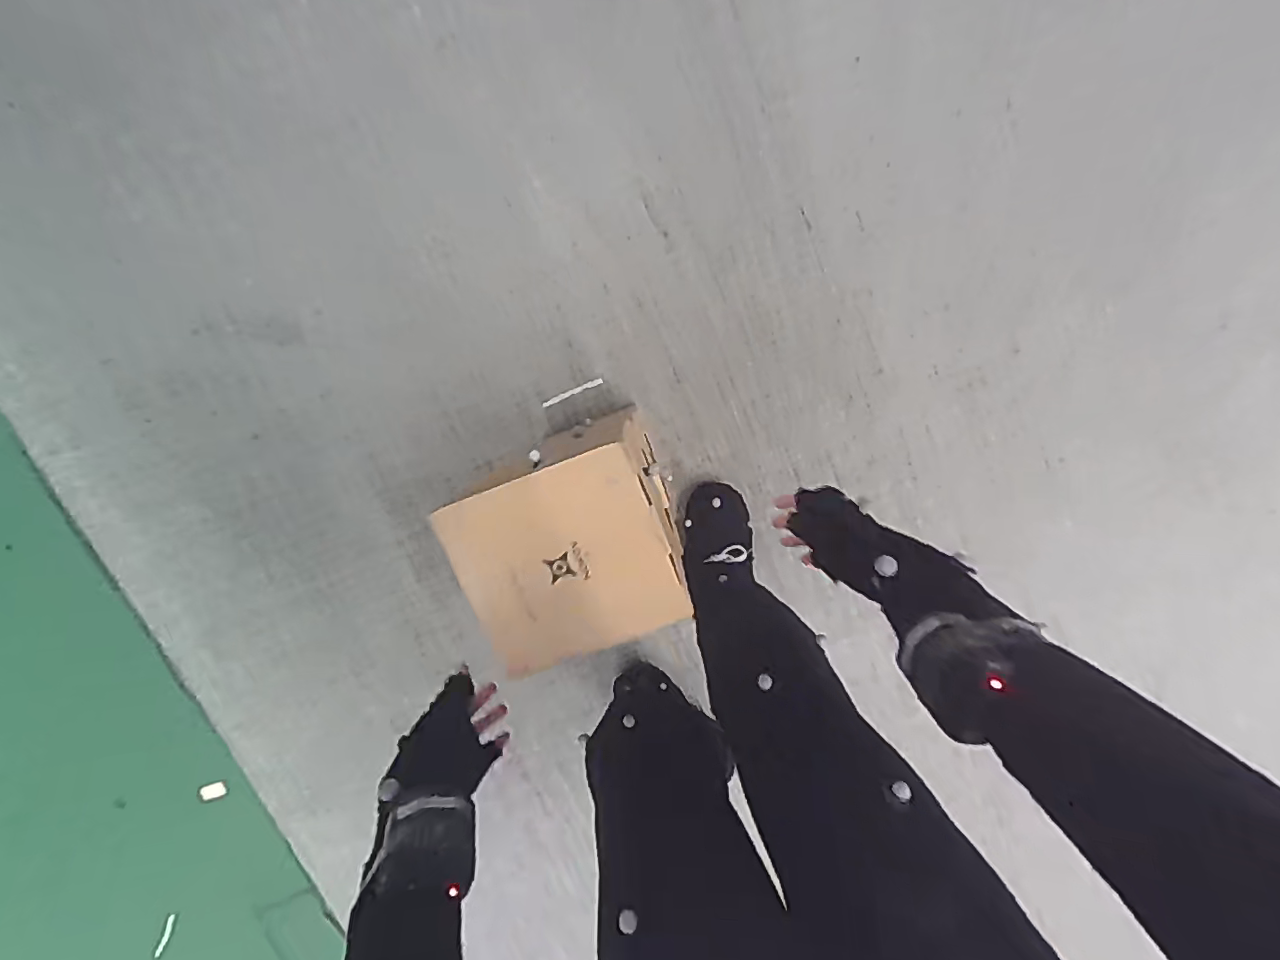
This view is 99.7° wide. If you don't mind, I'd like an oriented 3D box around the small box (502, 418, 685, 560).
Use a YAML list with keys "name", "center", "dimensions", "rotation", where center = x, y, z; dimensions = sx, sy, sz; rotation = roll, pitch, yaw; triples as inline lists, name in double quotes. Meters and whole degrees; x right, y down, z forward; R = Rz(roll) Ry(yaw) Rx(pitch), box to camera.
- name: "small box"
  center: [-0.057, 0.029, 0.691]
  dimensions: [0.179, 0.176, 0.168]
  rotation: [-20, 102, 4]

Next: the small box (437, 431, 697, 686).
- name: "small box"
  center: [-0.060, 0.061, 0.531]
  dimensions: [0.179, 0.176, 0.168]
  rotation: [-21, 100, 6]
